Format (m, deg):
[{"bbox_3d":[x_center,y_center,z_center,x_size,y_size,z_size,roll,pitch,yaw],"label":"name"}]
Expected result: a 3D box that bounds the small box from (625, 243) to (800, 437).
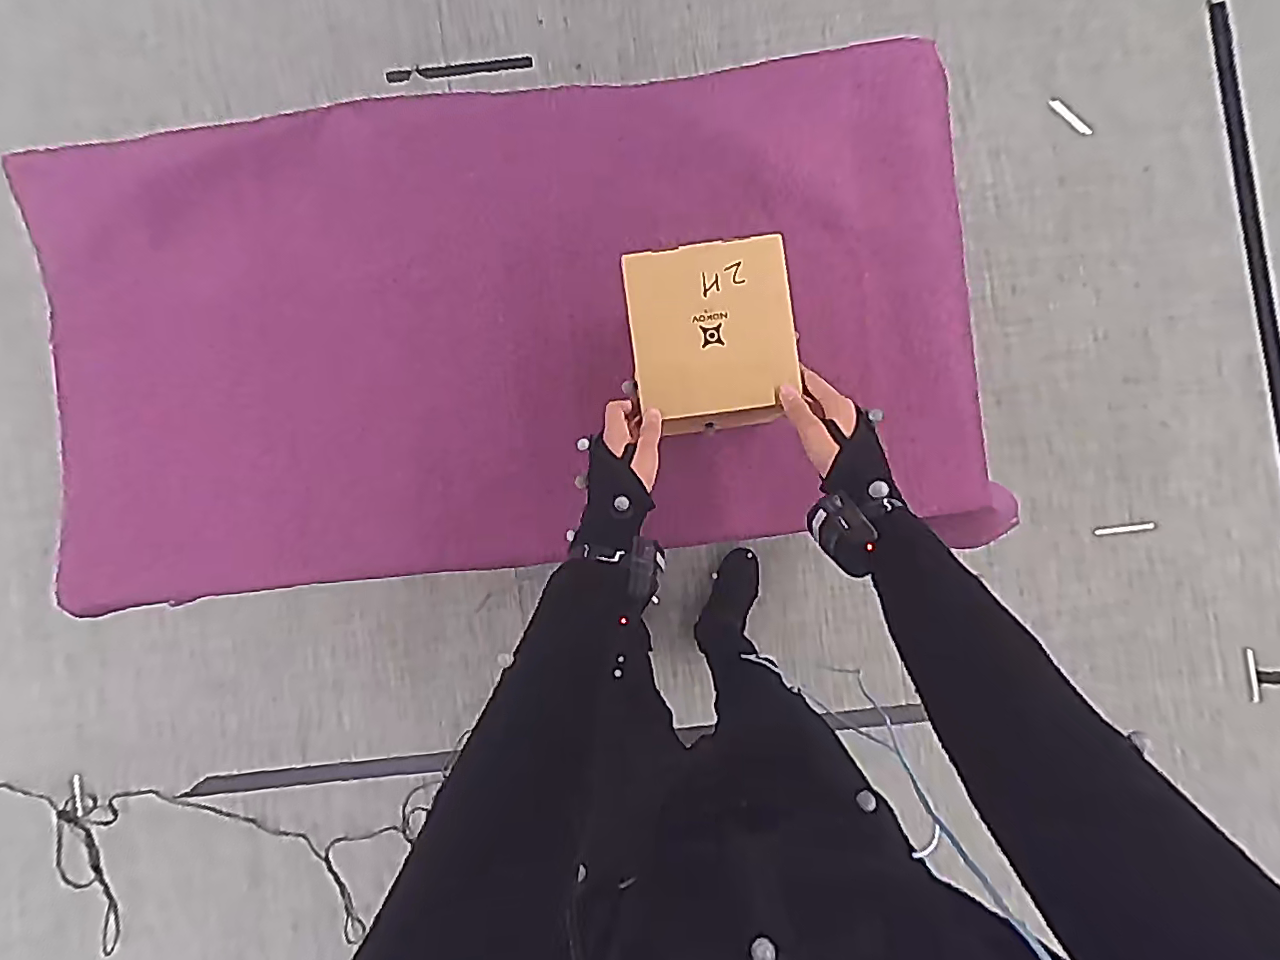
[{"bbox_3d":[0.077,-0.146,0.631,0.168,0.176,0.179,-7,89,1],"label":"small box"}]
